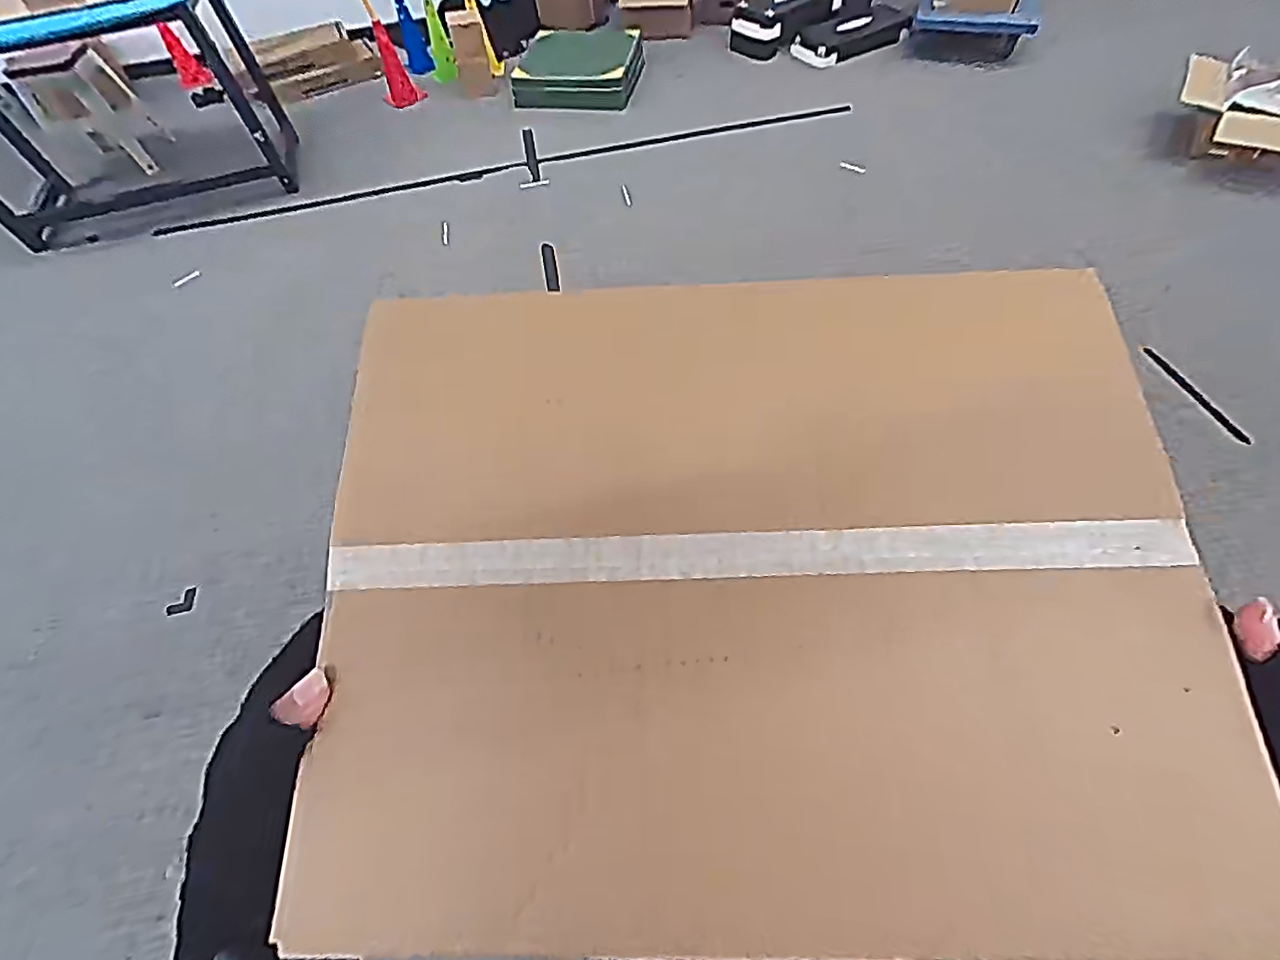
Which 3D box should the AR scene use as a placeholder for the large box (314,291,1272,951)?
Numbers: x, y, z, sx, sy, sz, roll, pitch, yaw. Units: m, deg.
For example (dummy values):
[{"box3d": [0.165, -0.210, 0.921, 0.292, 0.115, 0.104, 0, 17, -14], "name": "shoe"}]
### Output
[{"box3d": [0.058, 0.092, 0.411, 0.408, 0.320, 0.320, -2, 72, 2], "name": "large box"}]
